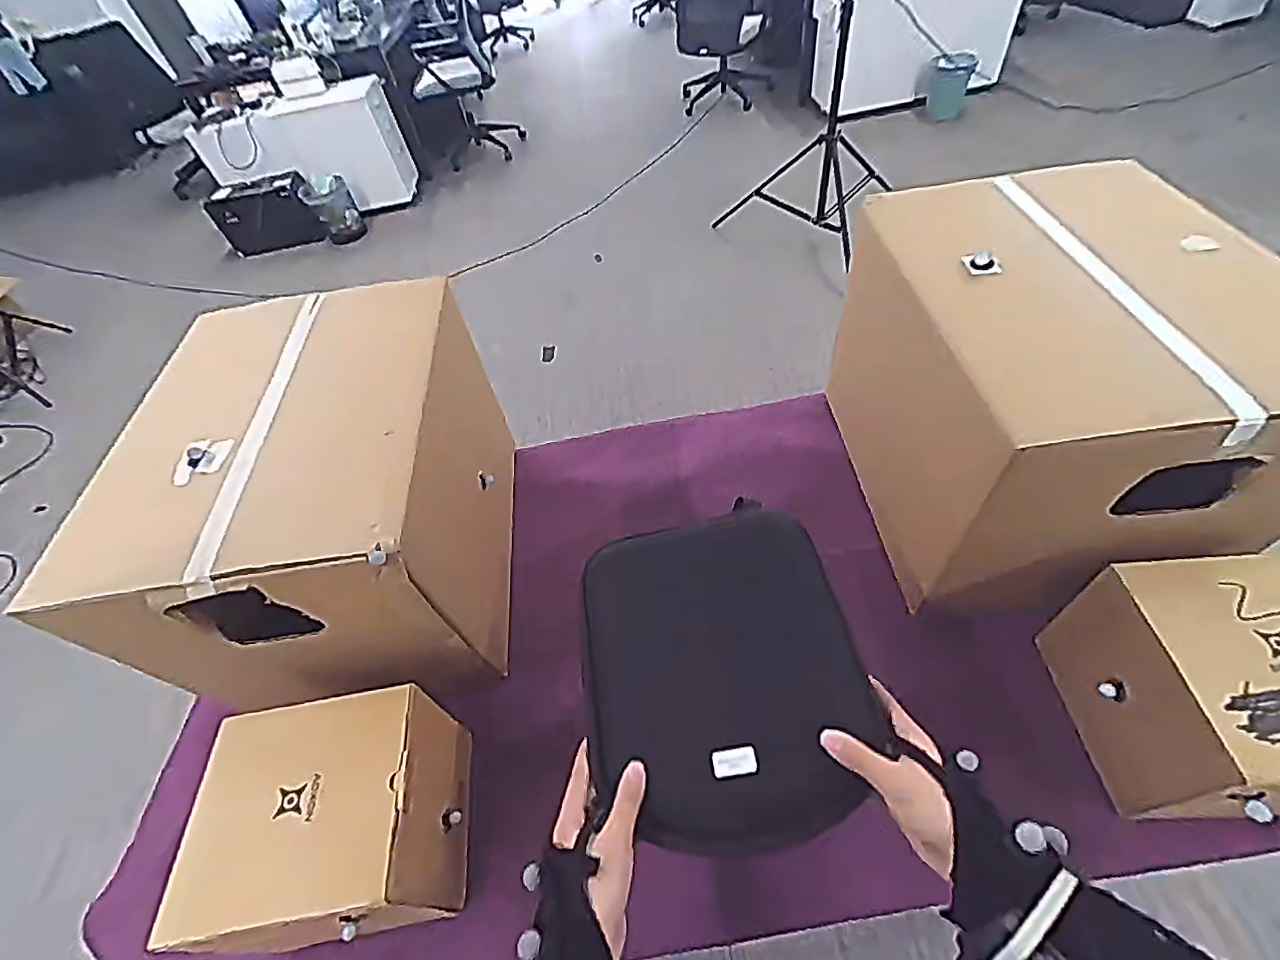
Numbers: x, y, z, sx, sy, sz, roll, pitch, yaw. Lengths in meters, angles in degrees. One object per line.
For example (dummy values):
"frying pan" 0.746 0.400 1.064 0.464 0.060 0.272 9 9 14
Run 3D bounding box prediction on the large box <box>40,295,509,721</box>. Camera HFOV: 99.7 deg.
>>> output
"large box" -0.354 0.034 0.675 0.320 0.320 0.408 -10 53 0
